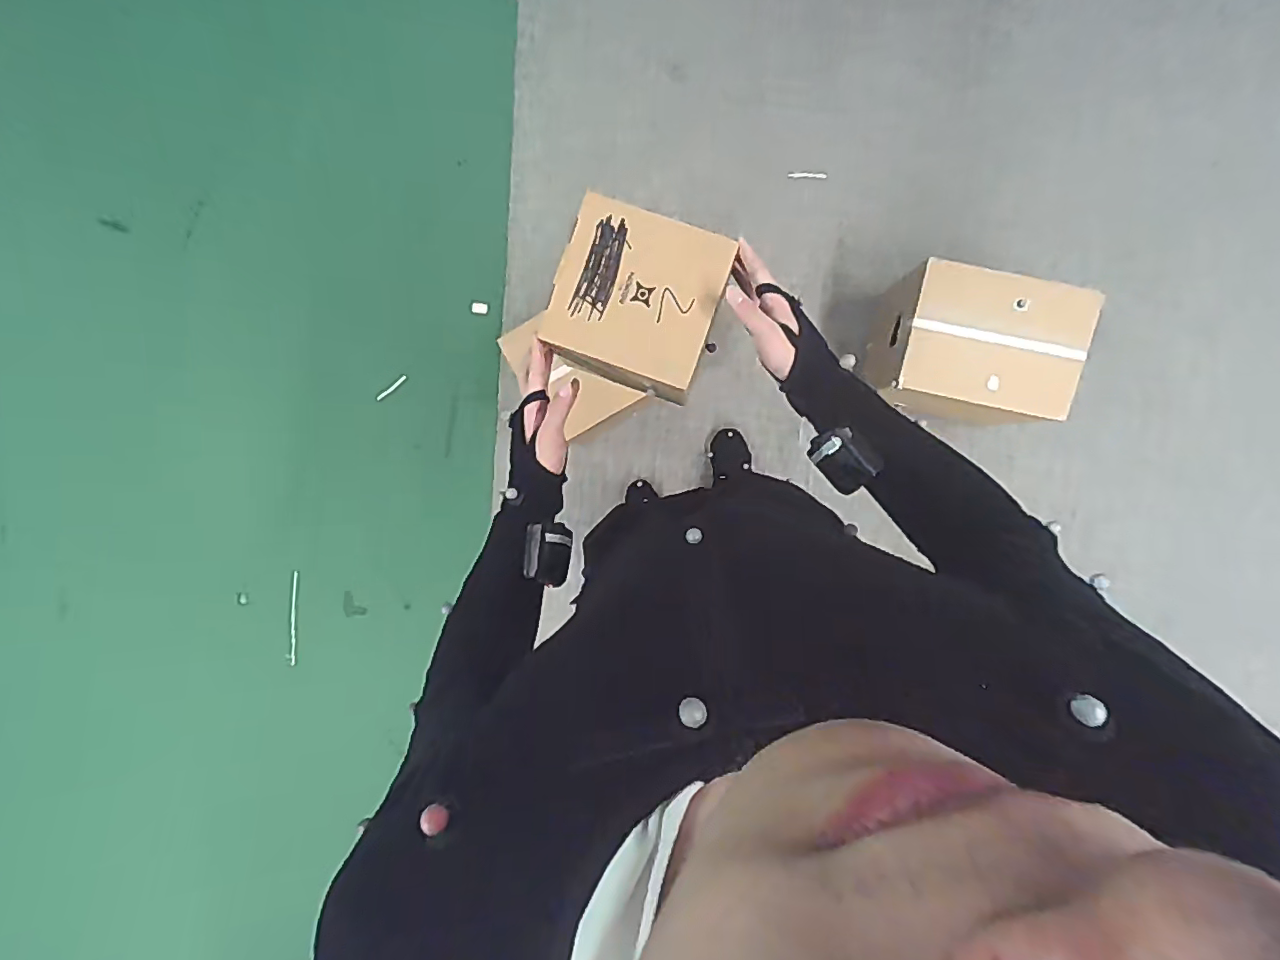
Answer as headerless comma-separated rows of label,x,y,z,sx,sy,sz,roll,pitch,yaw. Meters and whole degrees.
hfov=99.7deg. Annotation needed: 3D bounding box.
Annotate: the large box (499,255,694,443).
large box,-0.100,-0.335,1.485,0.408,0.320,0.320,-30,91,7
